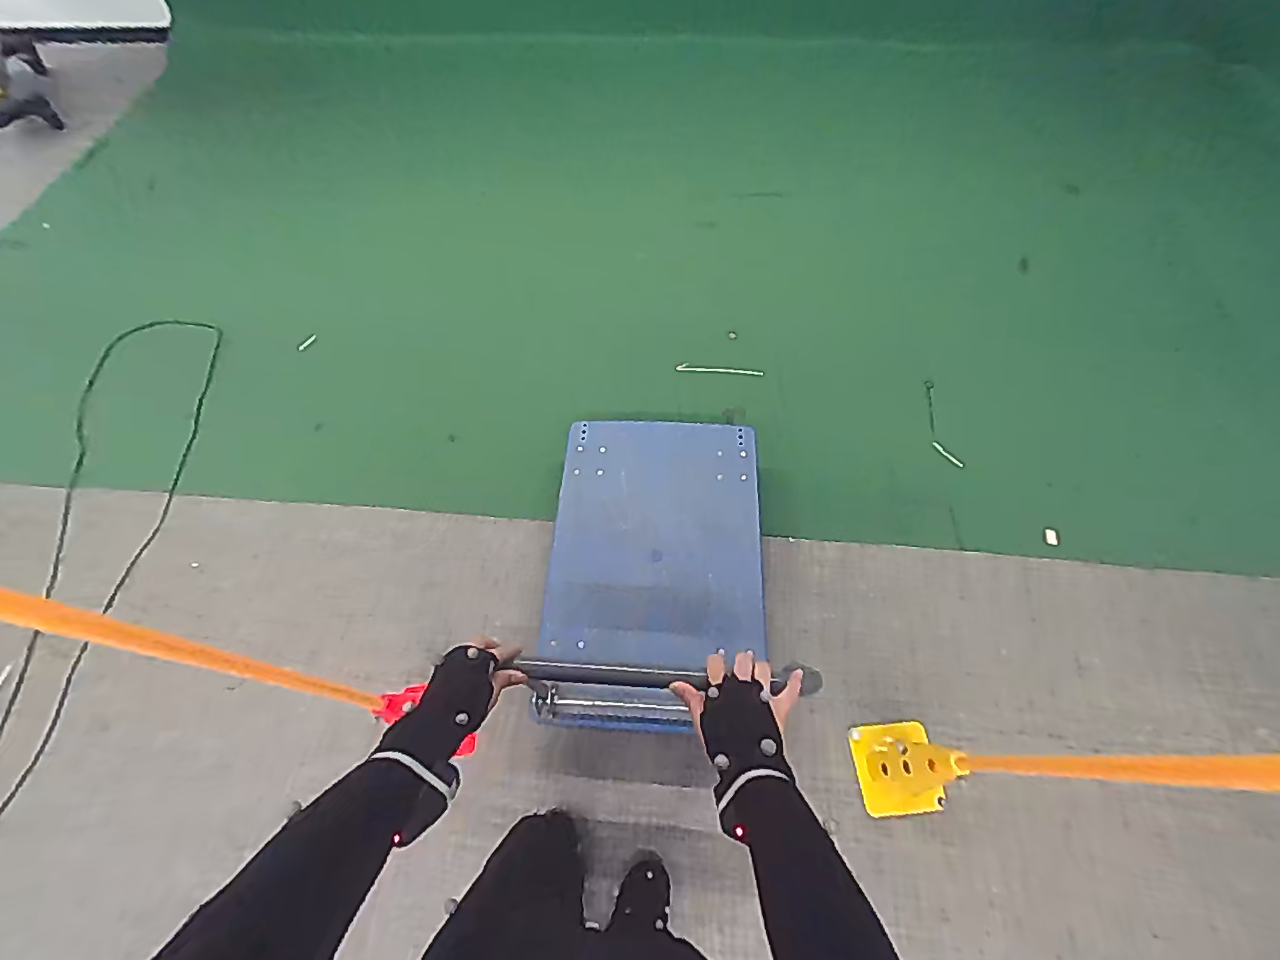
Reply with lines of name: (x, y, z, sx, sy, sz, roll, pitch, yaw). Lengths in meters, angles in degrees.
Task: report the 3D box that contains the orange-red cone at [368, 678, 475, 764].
orange-red cone: (-0.550, 0.557, 1.293, 0.199, 0.360, 0.198, -10, 61, -1)
